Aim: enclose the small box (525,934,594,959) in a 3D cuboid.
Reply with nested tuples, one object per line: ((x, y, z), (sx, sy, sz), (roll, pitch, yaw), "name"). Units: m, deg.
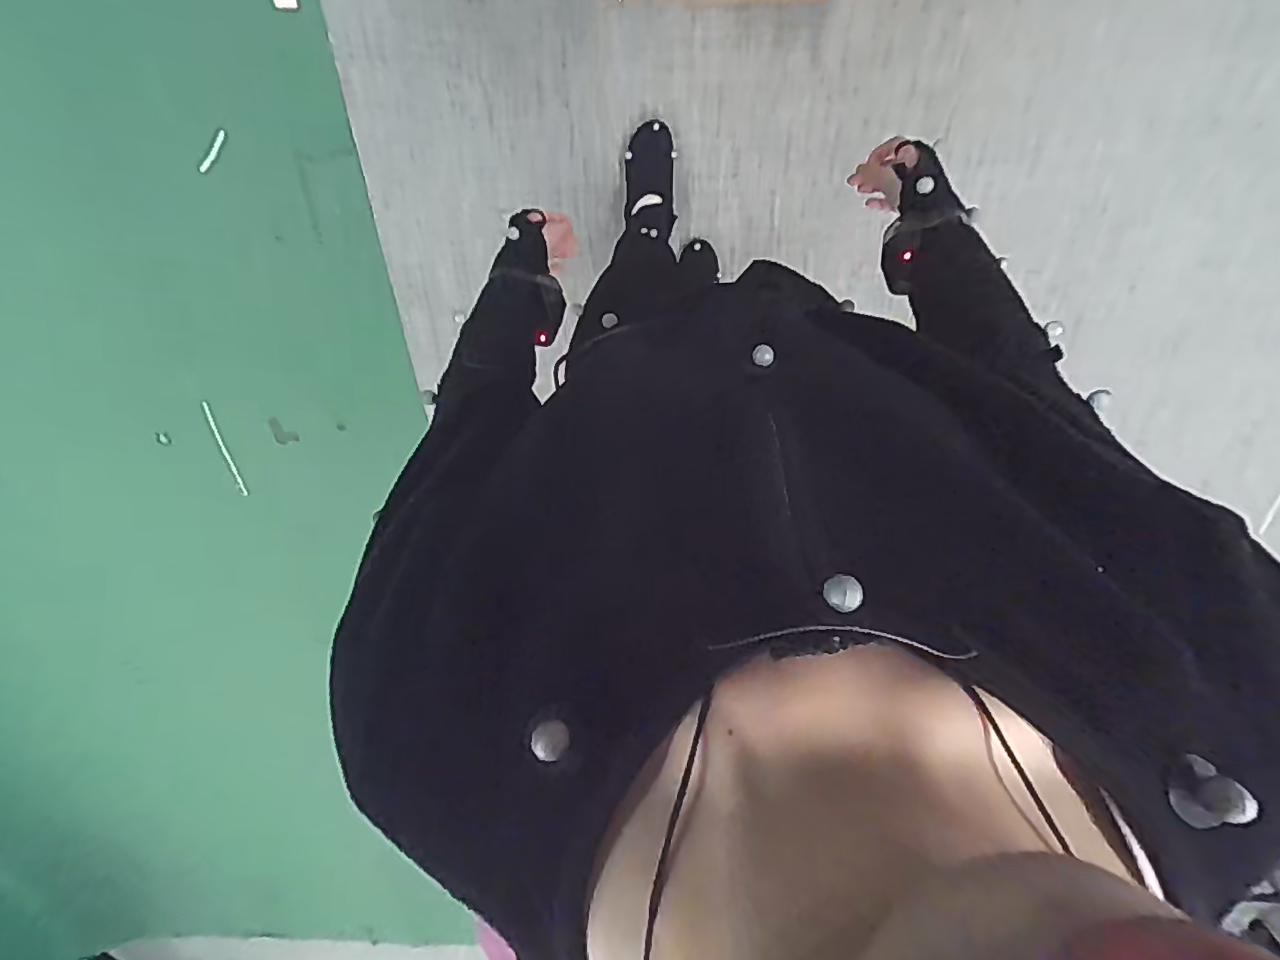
((-0.223, 1.355, 1.451), (0.179, 0.176, 0.168), (0, 121, 3), "small box")
